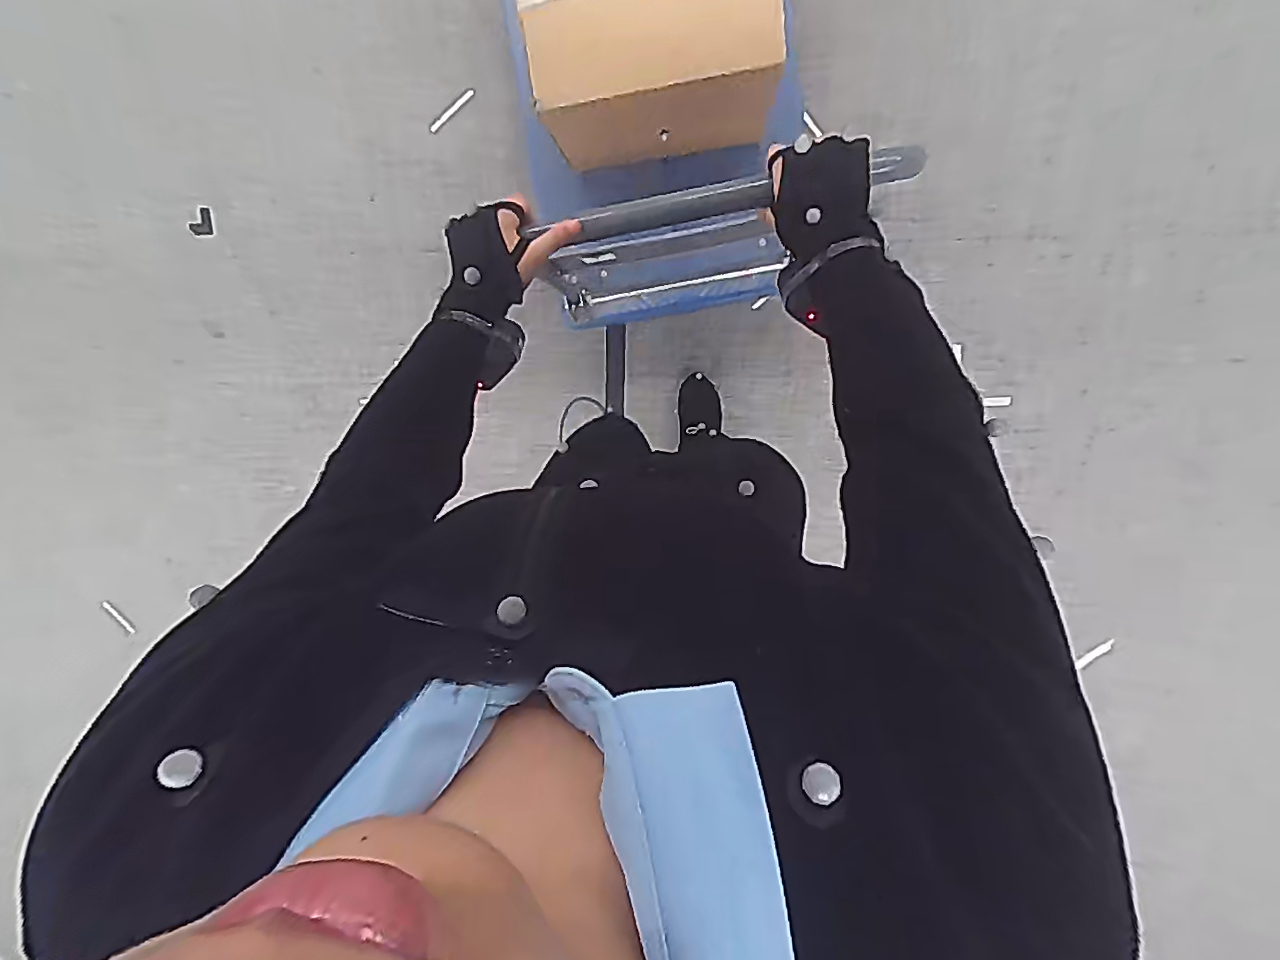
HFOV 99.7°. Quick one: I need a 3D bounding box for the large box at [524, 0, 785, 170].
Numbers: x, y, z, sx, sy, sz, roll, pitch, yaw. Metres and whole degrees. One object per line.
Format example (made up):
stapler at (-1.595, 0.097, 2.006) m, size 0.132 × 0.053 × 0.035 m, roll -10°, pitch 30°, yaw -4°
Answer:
large box at (0.027, -0.814, 0.986) m, size 0.408 × 0.320 × 0.320 m, roll -7°, pitch 101°, yaw 7°
